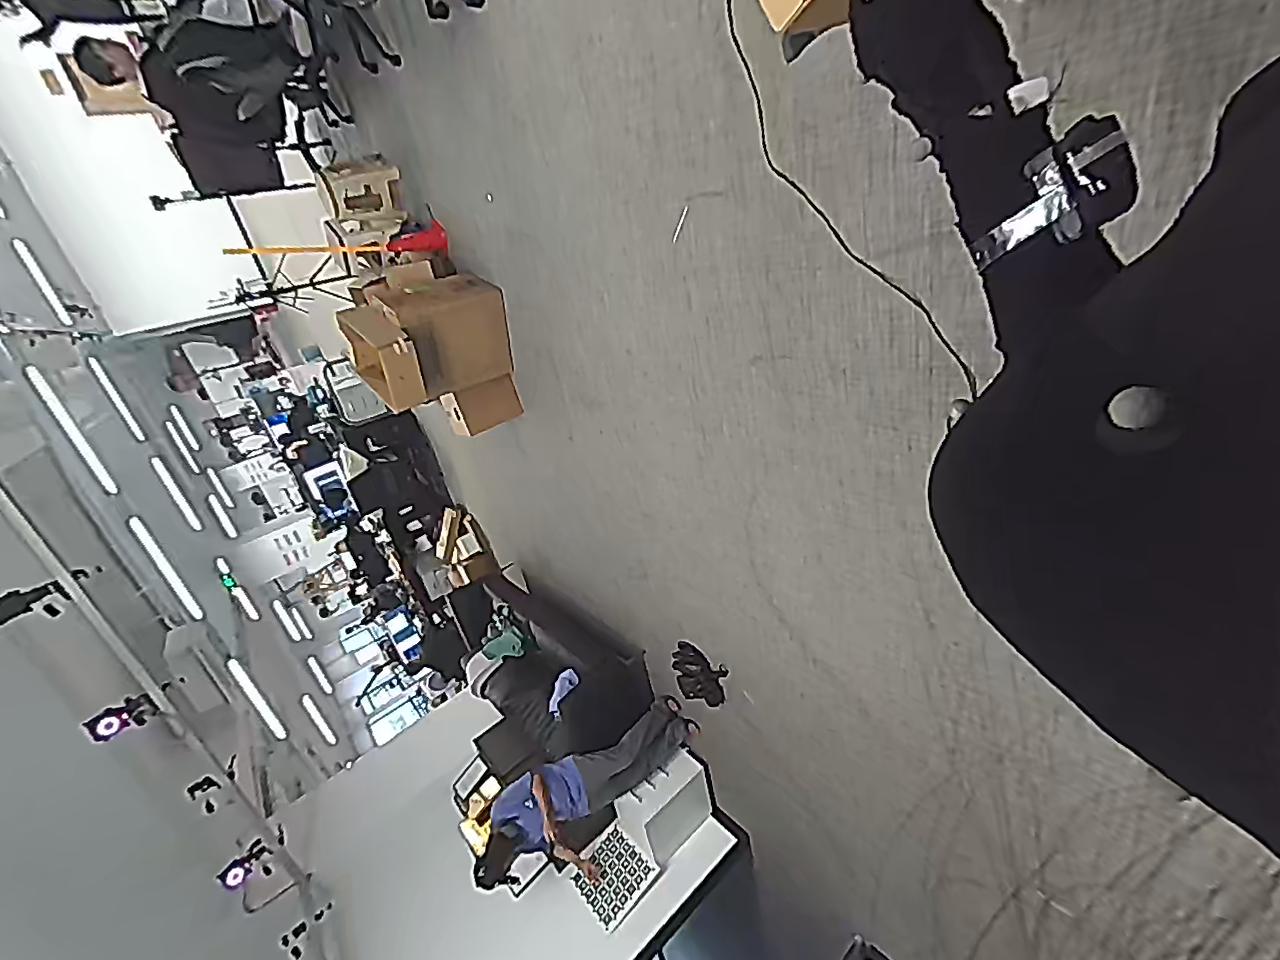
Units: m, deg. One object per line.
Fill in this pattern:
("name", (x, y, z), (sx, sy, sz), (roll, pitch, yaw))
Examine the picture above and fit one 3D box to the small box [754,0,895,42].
("small box", (0.159, -0.460, 0.369), (0.179, 0.176, 0.168), (60, 154, -6))
